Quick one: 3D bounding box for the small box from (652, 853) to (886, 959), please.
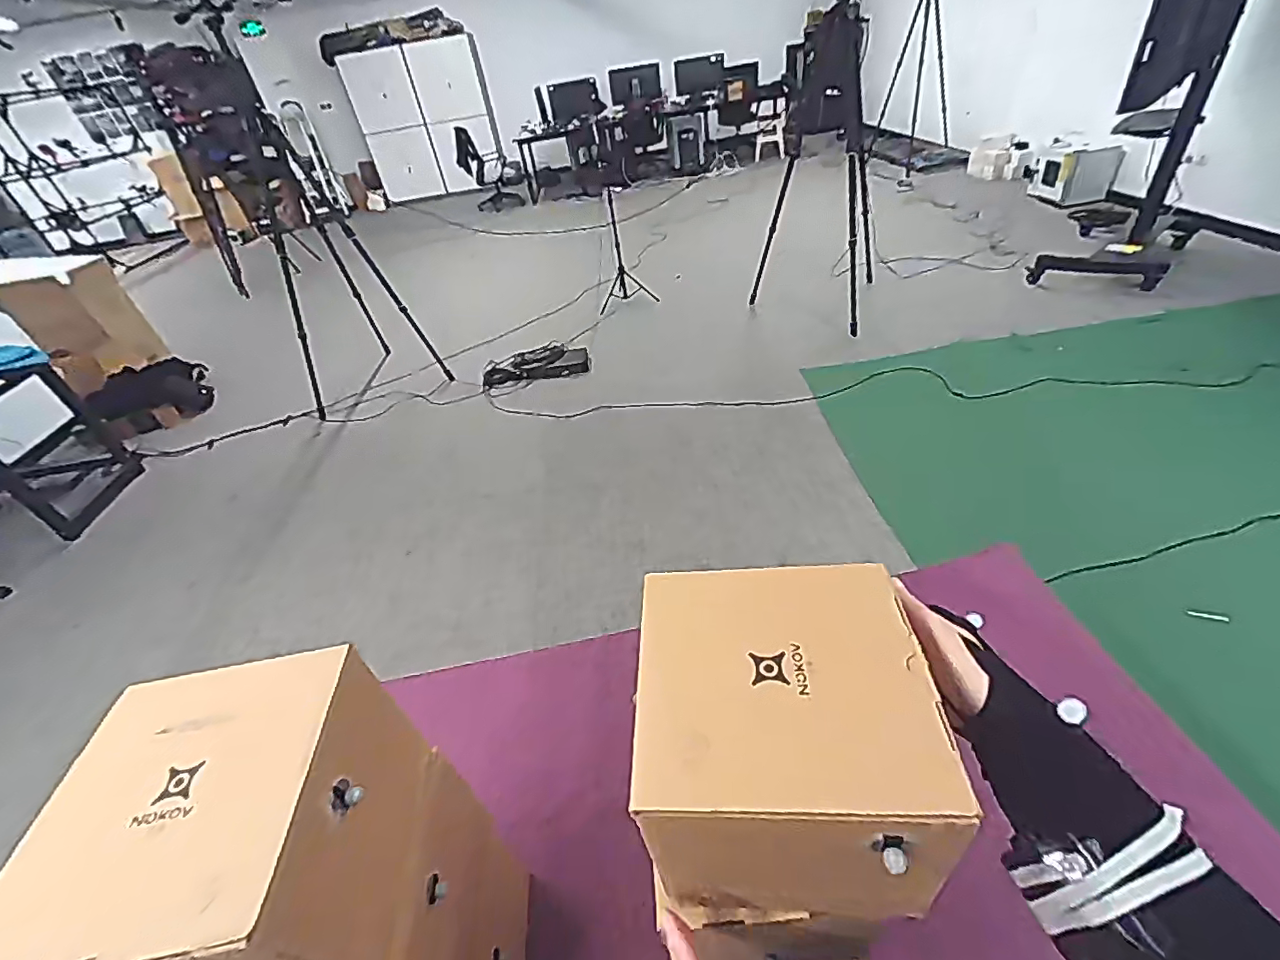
[{"bbox_3d":[0.097,0.307,0.489,0.168,0.176,0.179,-8,40,3],"label":"small box"}]

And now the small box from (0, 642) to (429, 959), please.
[{"bbox_3d":[-0.268,0.246,0.380,0.168,0.176,0.179,-9,39,-1],"label":"small box"}]

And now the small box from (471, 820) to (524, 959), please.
[{"bbox_3d":[-0.229,0.499,0.586,0.168,0.176,0.179,-8,41,0],"label":"small box"}]

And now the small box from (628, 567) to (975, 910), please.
[{"bbox_3d":[0.095,0.181,0.384,0.179,0.176,0.168,-2,39,7],"label":"small box"}]
